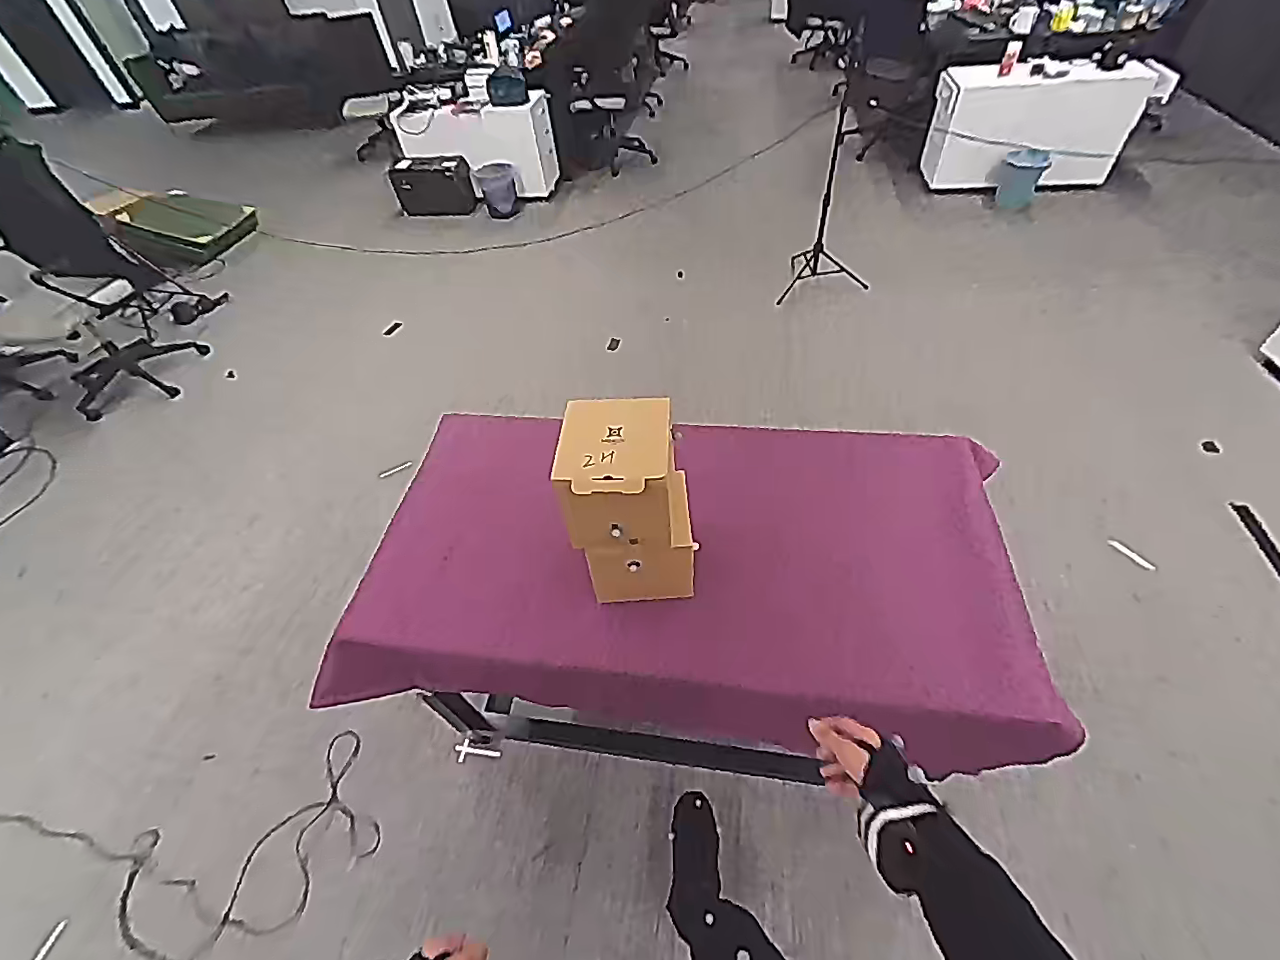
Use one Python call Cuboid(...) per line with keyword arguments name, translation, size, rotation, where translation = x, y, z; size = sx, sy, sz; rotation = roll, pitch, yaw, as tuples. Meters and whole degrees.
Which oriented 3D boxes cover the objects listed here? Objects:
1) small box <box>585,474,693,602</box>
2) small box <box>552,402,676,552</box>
Cuboid(name="small box", translation=(0.003, 0.109, 0.979), size=(0.179, 0.176, 0.168), rotation=(-4, 49, 2))
Cuboid(name="small box", translation=(-0.030, -0.005, 0.863), size=(0.168, 0.176, 0.179), rotation=(0, 49, 7))
